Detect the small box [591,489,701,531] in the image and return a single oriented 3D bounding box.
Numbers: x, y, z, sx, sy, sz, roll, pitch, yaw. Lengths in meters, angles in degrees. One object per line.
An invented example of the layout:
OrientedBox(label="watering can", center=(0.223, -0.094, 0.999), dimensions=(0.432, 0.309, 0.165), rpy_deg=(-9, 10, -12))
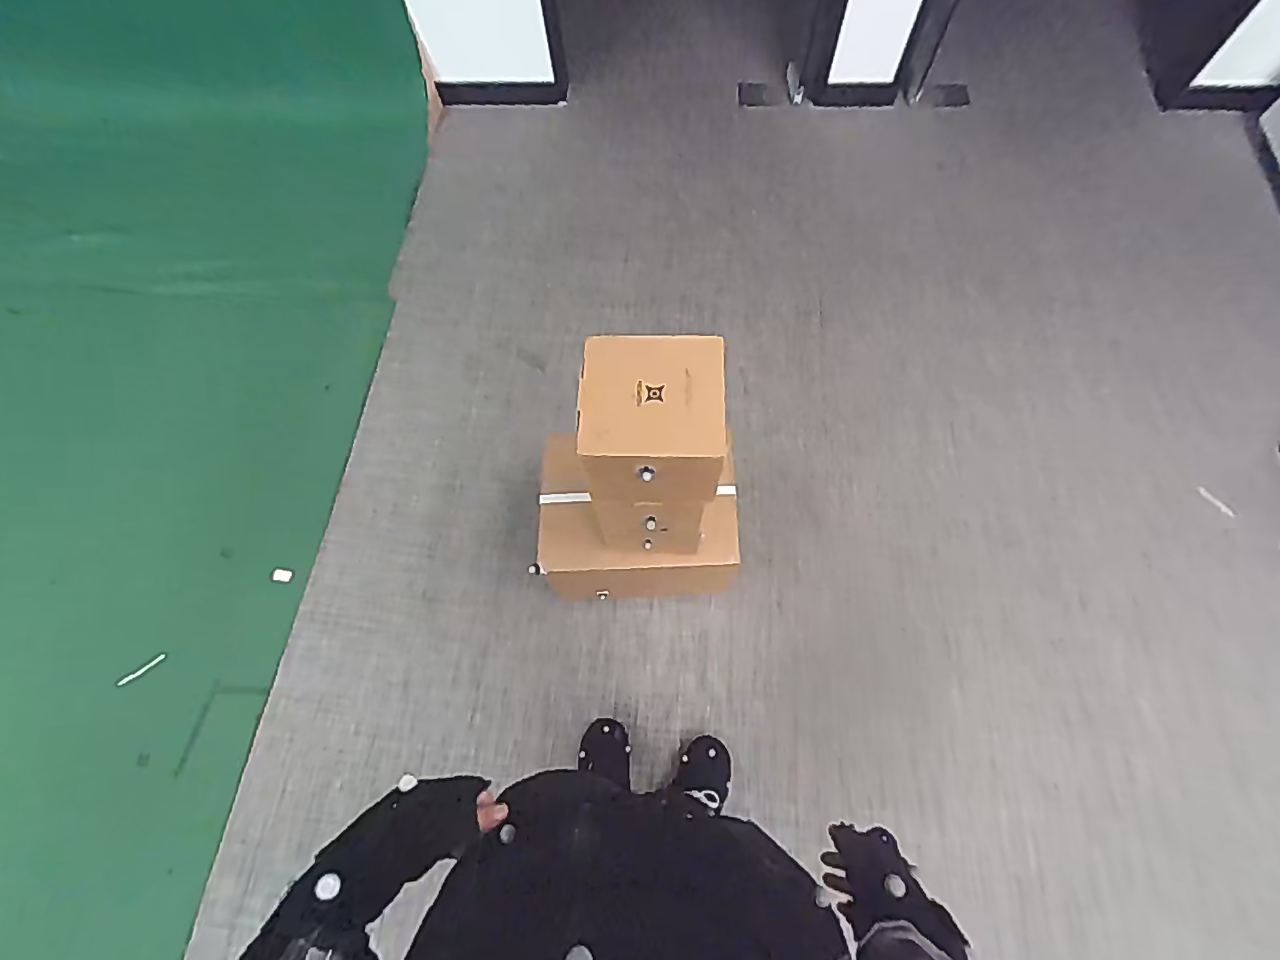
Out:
OrientedBox(label="small box", center=(0.015, -0.017, 0.888), dimensions=(0.168, 0.176, 0.179), rpy_deg=(0, 69, 2))

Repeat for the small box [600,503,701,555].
OrientedBox(label="small box", center=(0.025, 0.044, 1.039), dimensions=(0.179, 0.176, 0.168), rpy_deg=(1, 68, 4))

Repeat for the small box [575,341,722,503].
OrientedBox(label="small box", center=(0.016, -0.070, 0.734), dimensions=(0.179, 0.176, 0.168), rpy_deg=(1, 69, 2))
